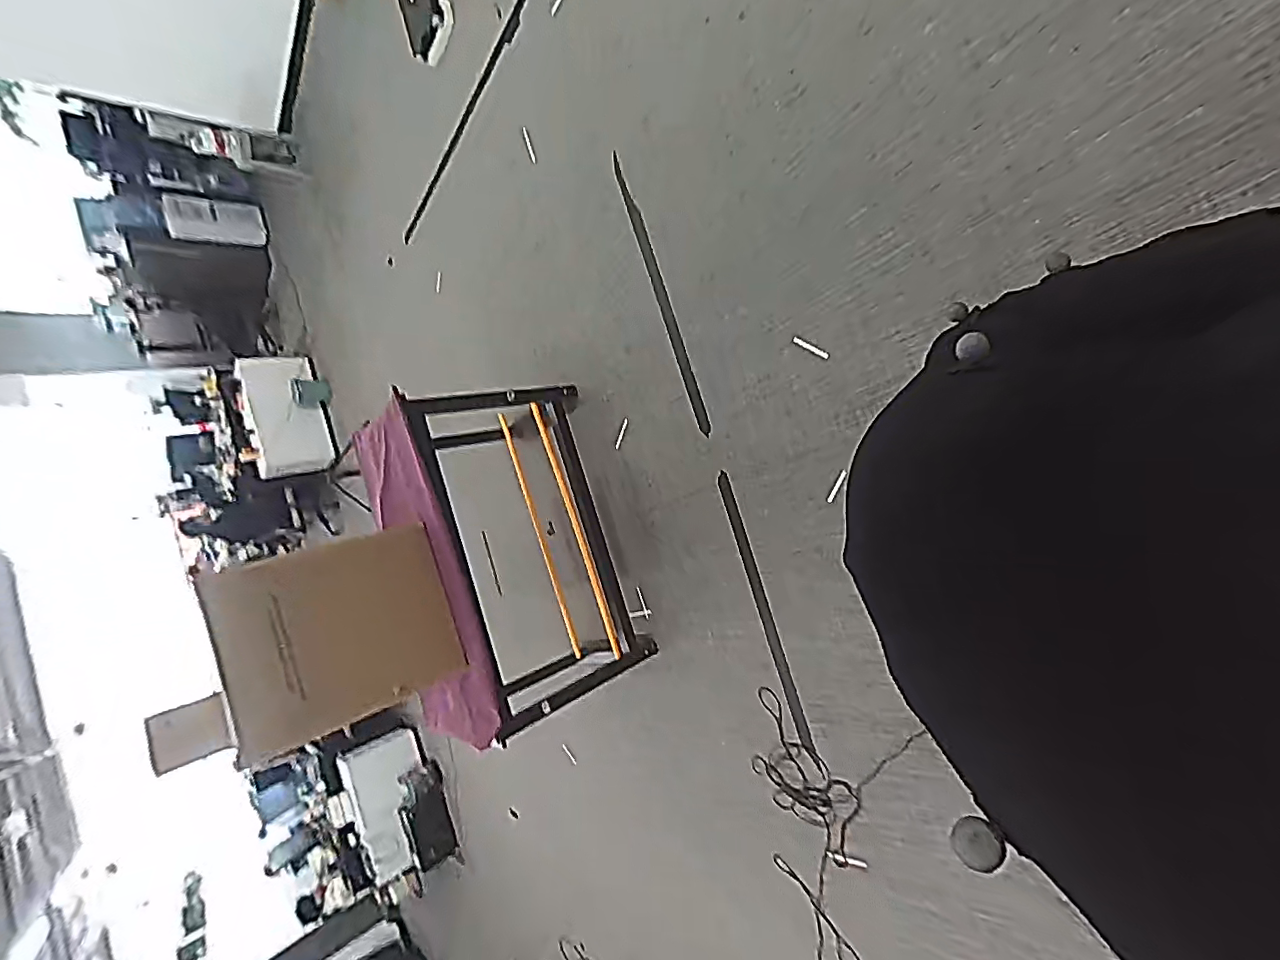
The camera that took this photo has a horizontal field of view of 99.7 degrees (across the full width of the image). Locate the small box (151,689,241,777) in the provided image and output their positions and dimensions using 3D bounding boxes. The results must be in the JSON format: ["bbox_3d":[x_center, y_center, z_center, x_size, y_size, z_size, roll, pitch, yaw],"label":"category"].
[{"bbox_3d":[-1.274,0.717,1.554,0.168,0.176,0.179,-27,80,48],"label":"small box"}]
